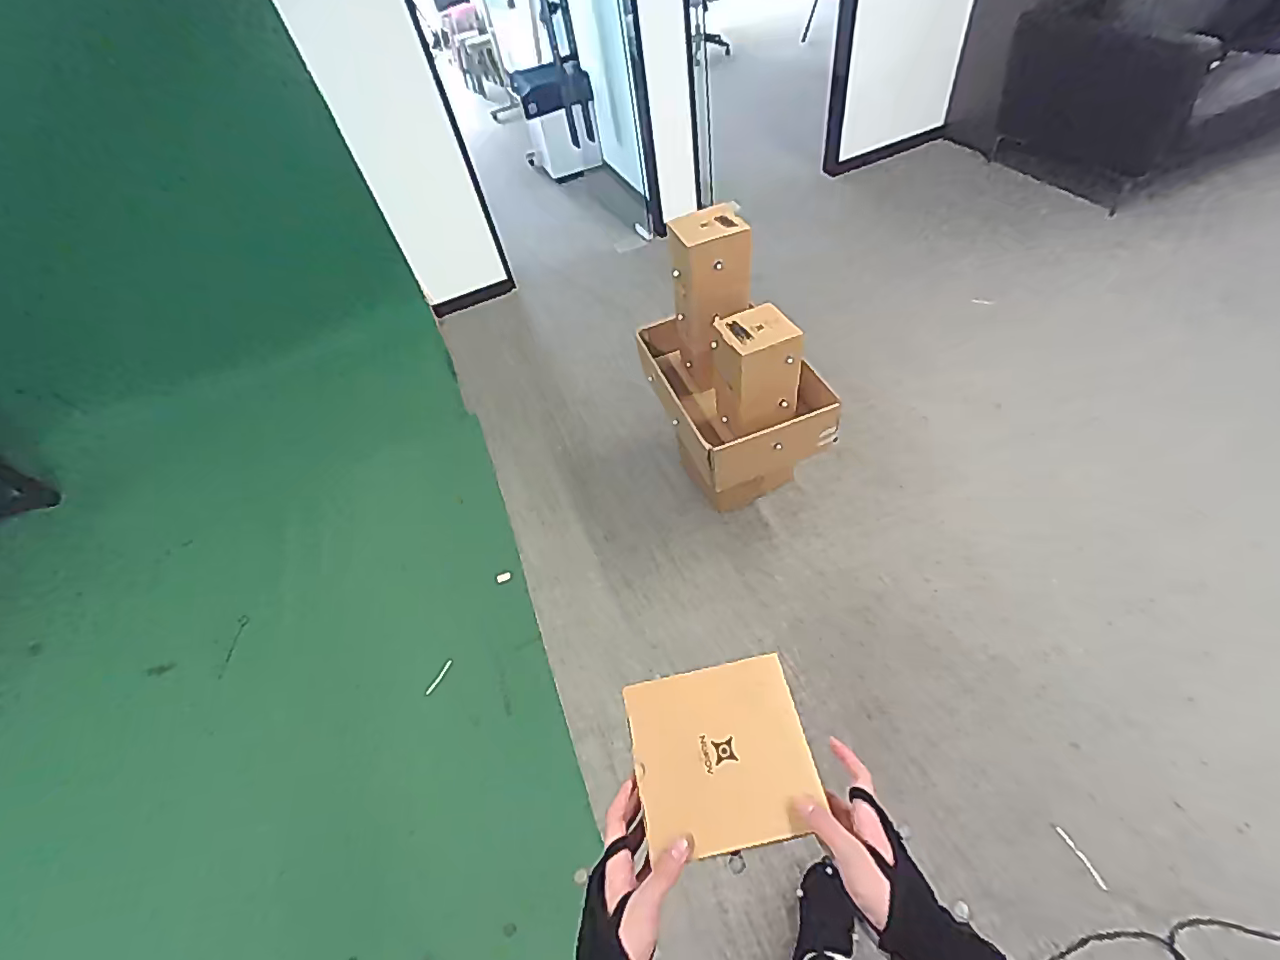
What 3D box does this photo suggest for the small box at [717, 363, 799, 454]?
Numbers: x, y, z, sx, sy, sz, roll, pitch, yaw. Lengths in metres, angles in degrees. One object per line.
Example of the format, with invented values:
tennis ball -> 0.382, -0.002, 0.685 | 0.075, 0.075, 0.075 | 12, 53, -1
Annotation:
small box -> 0.335, -0.206, 1.567 | 0.179, 0.176, 0.168 | -21, 49, -7

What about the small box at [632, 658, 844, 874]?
small box -> 0.097, 0.318, 0.602 | 0.179, 0.176, 0.168 | -12, 55, -1

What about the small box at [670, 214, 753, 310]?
small box -> 0.196, -0.600, 1.495 | 0.179, 0.176, 0.168 | -19, 51, -6

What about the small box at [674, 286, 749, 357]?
small box -> 0.216, -0.496, 1.621 | 0.179, 0.176, 0.168 | -19, 51, -5

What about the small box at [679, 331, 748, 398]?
small box -> 0.237, -0.390, 1.744 | 0.179, 0.176, 0.168 | -17, 50, -6
